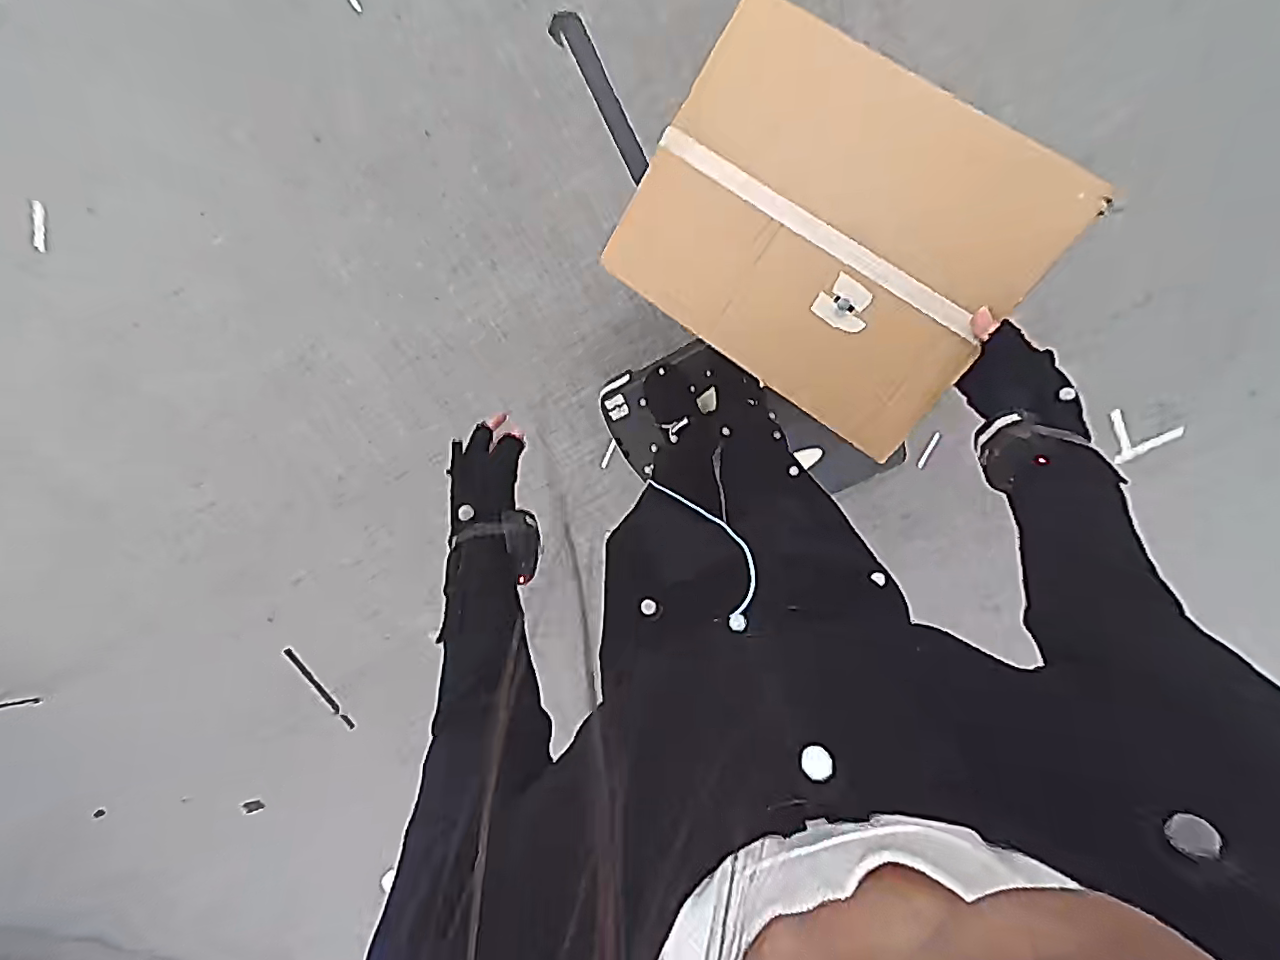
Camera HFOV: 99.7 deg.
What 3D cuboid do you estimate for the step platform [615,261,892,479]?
[{"bbox_3d":[0.276,-0.274,1.407,0.684,0.204,0.286,-28,107,13],"label":"step platform"}]
